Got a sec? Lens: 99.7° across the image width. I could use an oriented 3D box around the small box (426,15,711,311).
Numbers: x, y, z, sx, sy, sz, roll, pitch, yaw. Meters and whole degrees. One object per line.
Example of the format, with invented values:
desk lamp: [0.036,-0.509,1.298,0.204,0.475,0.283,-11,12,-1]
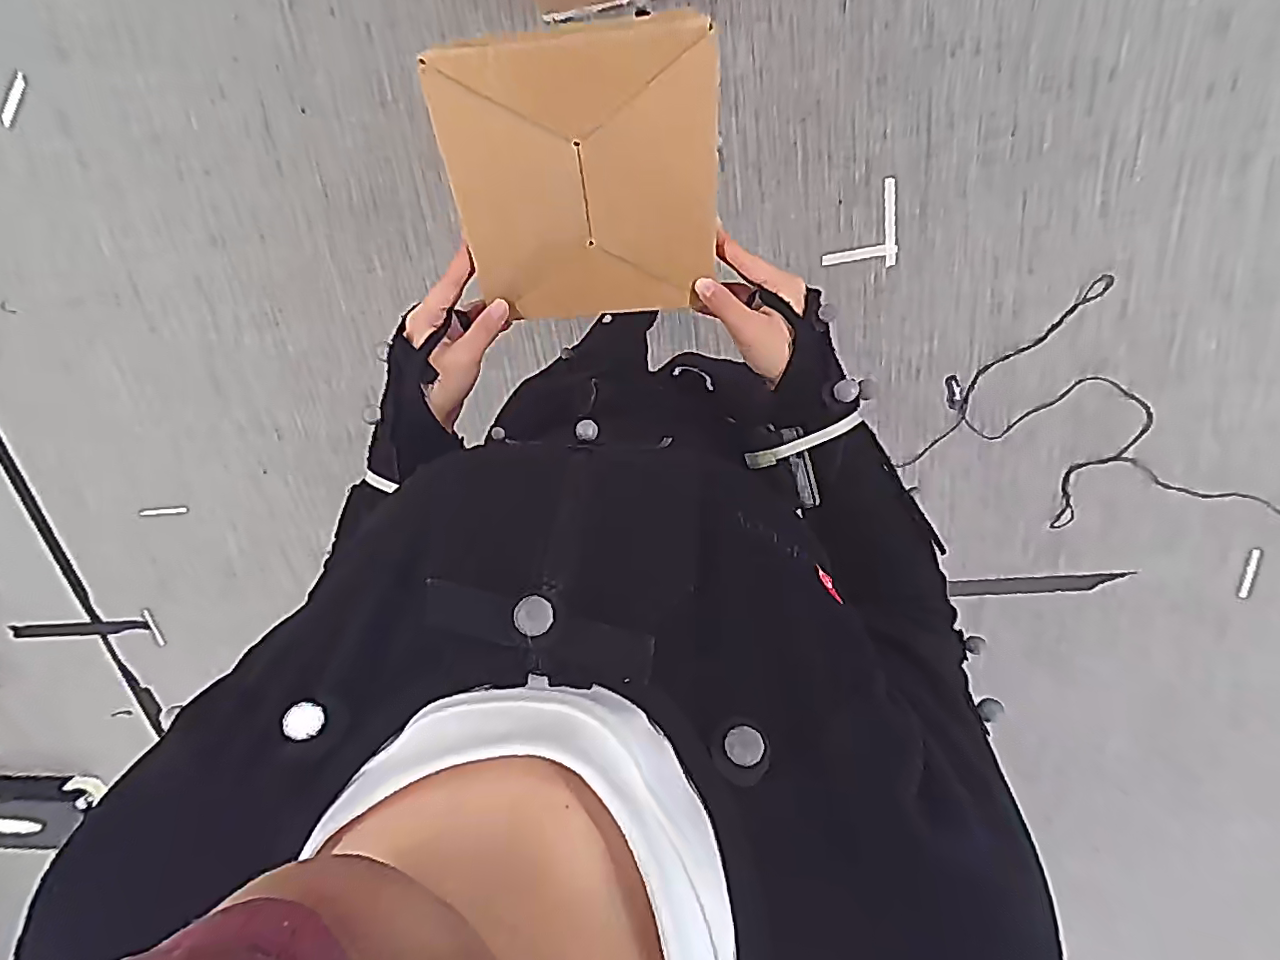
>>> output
small box: [-0.041,-0.246,0.422,0.179,0.176,0.168,-3,132,4]
